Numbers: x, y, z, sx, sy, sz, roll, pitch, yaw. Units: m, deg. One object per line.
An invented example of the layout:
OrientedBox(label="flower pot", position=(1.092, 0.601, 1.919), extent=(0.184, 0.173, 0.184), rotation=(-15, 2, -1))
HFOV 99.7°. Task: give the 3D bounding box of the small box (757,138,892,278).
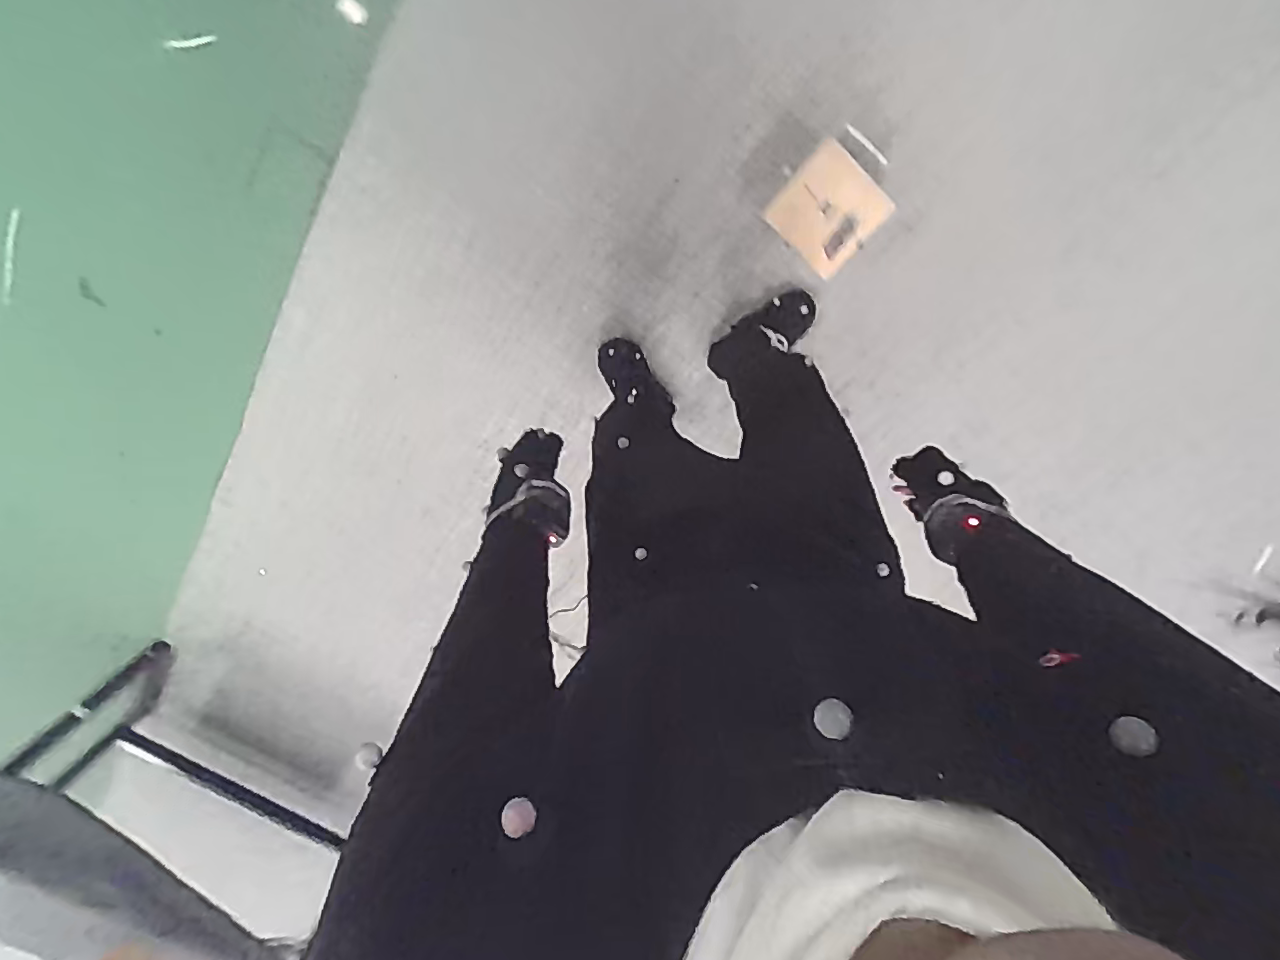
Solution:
OrientedBox(label="small box", position=(0.348, -0.529, 1.049), extent=(0.179, 0.176, 0.168), rotation=(37, 118, -13))
